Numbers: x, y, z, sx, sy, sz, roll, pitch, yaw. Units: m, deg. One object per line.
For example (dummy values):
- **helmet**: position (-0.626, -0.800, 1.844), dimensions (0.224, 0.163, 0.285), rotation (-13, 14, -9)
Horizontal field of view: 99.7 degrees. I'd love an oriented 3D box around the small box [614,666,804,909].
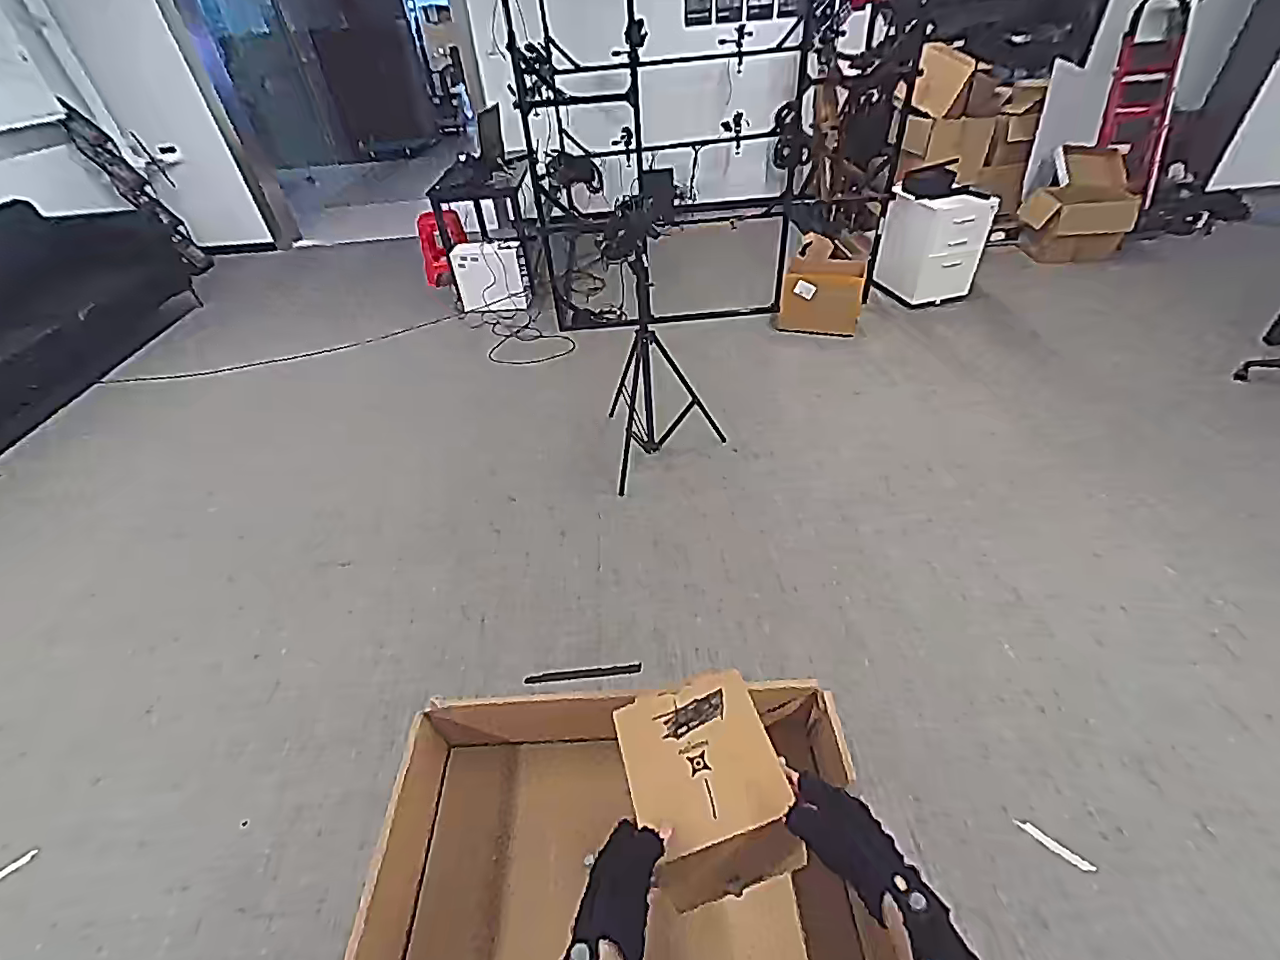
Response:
- **small box**: position (0.081, 0.363, 0.645), dimensions (0.168, 0.176, 0.179), rotation (-20, 38, -3)
